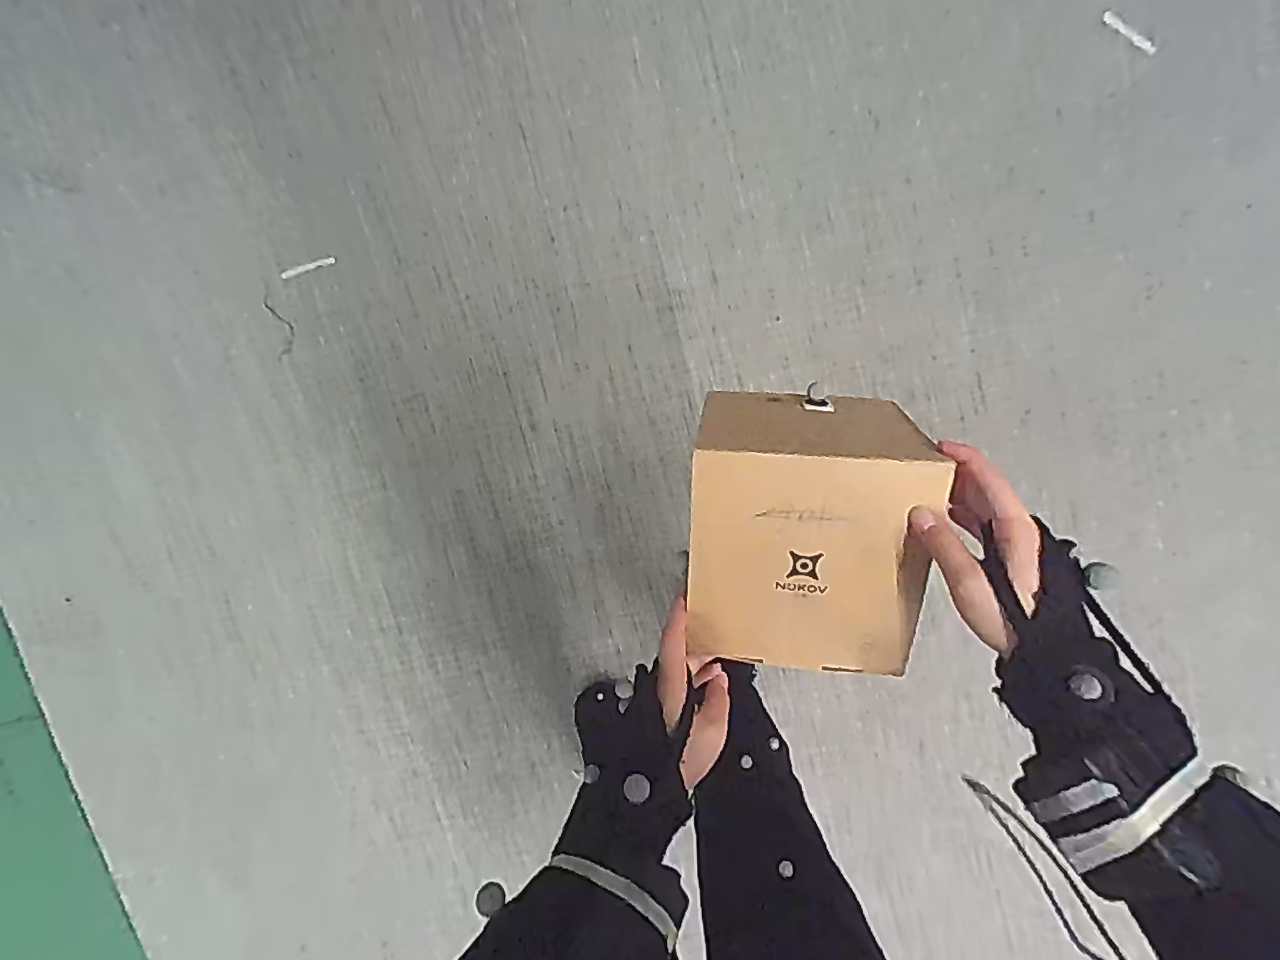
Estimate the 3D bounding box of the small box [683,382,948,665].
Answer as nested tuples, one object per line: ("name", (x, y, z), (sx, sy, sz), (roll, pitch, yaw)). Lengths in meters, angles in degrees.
("small box", (0.127, 0.024, 0.456), (0.168, 0.176, 0.179), (3, 113, 8))
